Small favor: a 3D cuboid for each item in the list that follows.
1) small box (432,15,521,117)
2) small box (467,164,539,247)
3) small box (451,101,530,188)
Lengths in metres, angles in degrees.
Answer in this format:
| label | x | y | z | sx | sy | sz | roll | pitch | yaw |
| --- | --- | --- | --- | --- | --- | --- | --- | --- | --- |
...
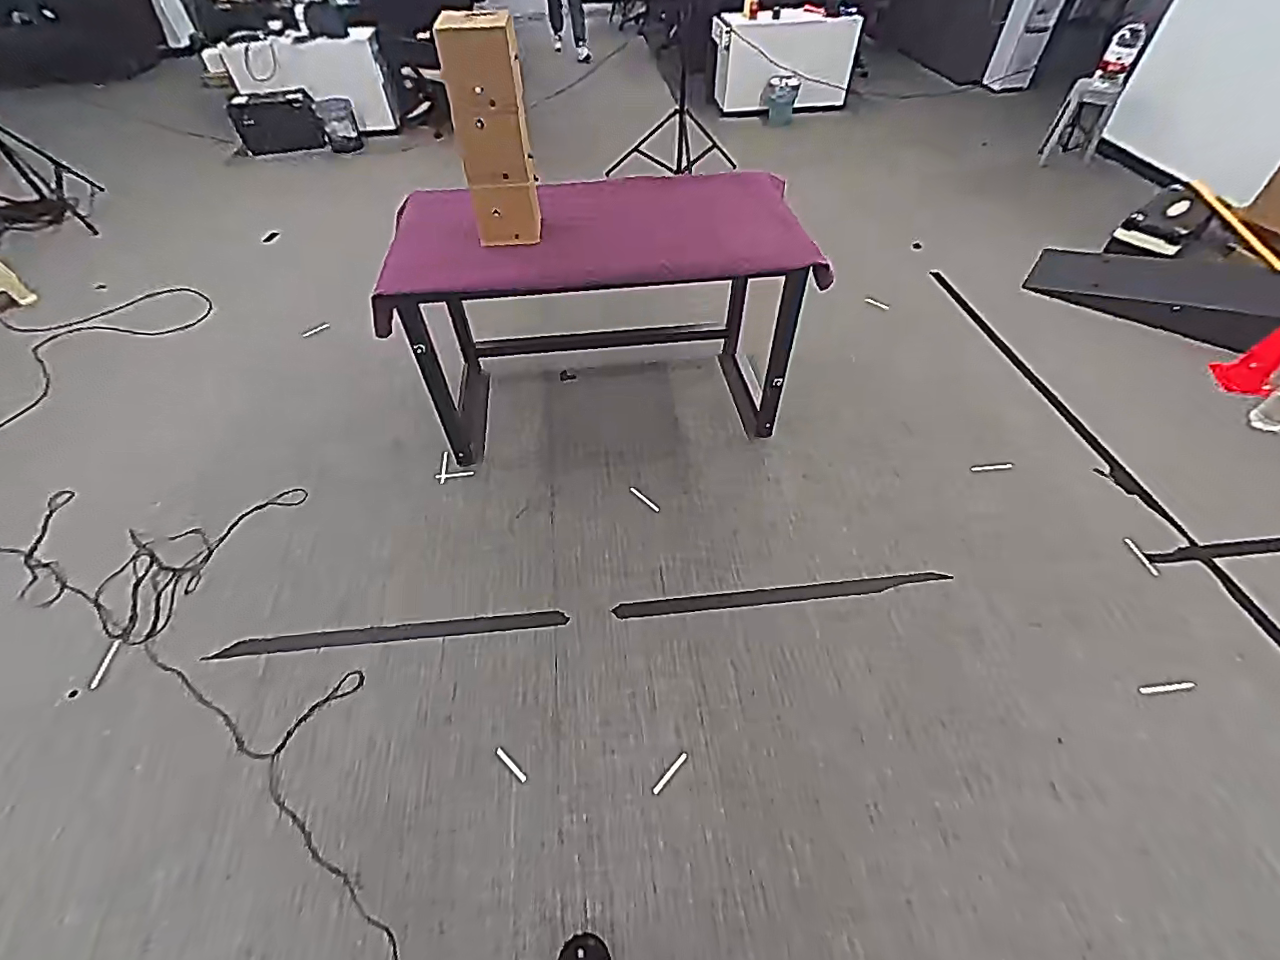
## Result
| label | x | y | z | sx | sy | sz | roll | pitch | yaw |
| --- | --- | --- | --- | --- | --- | --- | --- | --- | --- |
| small box | -0.390 | -1.008 | 1.318 | 0.168 | 0.176 | 0.179 | -5 | 50 | -3 |
| small box | -0.389 | -0.791 | 1.565 | 0.168 | 0.176 | 0.179 | -5 | 49 | -3 |
| small box | -0.392 | -0.902 | 1.445 | 0.168 | 0.176 | 0.179 | -6 | 49 | -3 |
